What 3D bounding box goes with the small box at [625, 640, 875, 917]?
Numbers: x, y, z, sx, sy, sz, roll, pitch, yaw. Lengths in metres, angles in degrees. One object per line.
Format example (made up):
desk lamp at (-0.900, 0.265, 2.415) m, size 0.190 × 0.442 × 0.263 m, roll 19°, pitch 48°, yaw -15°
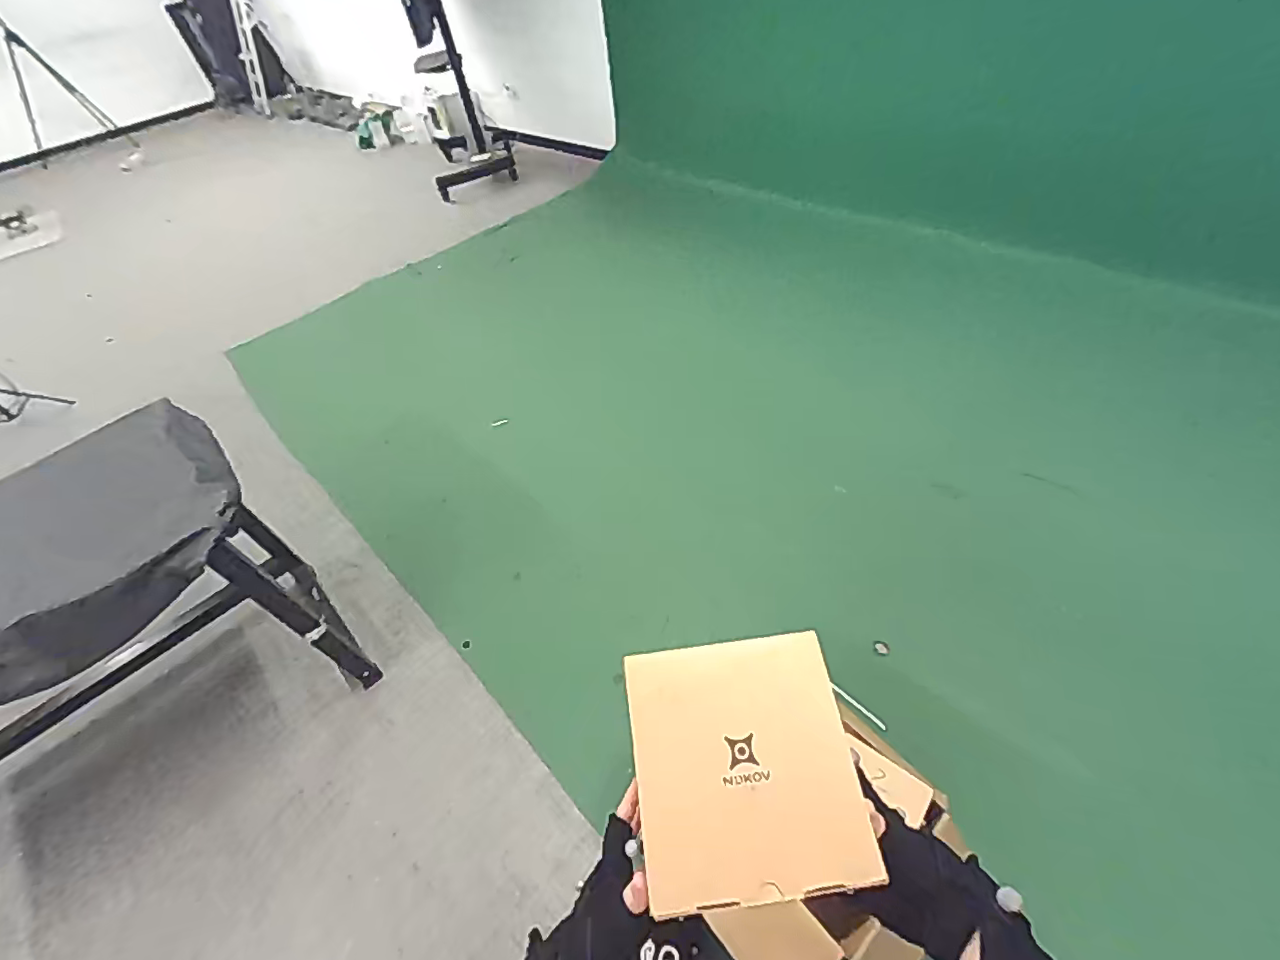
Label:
small box at (0.075, 0.260, 0.485) m, size 0.168 × 0.176 × 0.179 m, roll -6°, pitch 59°, yaw -3°
